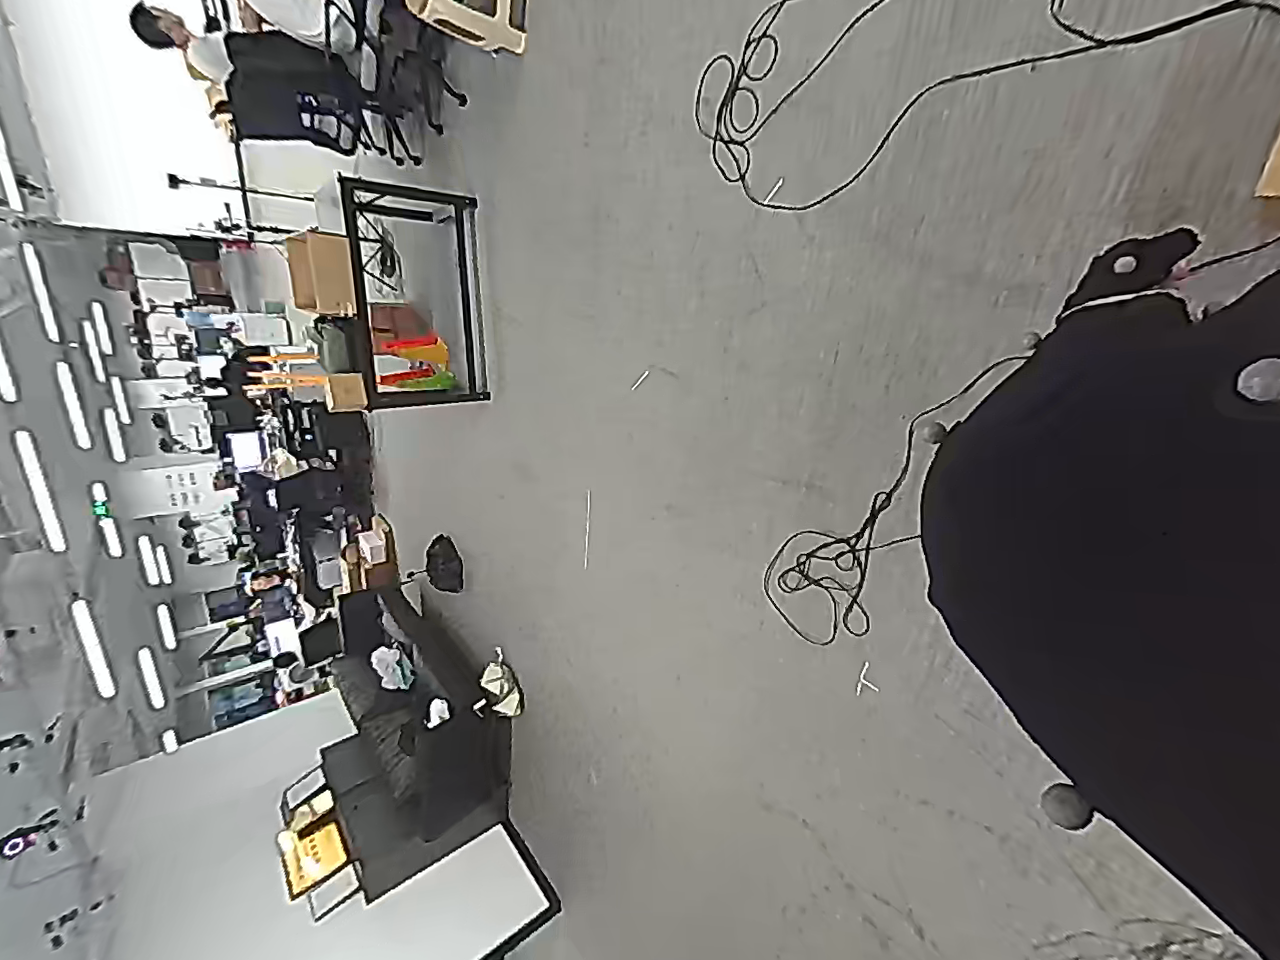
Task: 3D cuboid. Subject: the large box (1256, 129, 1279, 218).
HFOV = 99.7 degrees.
[{"bbox_3d":[1.129,-0.525,0.681,0.408,0.320,0.320,25,119,42],"label":"large box"}]
